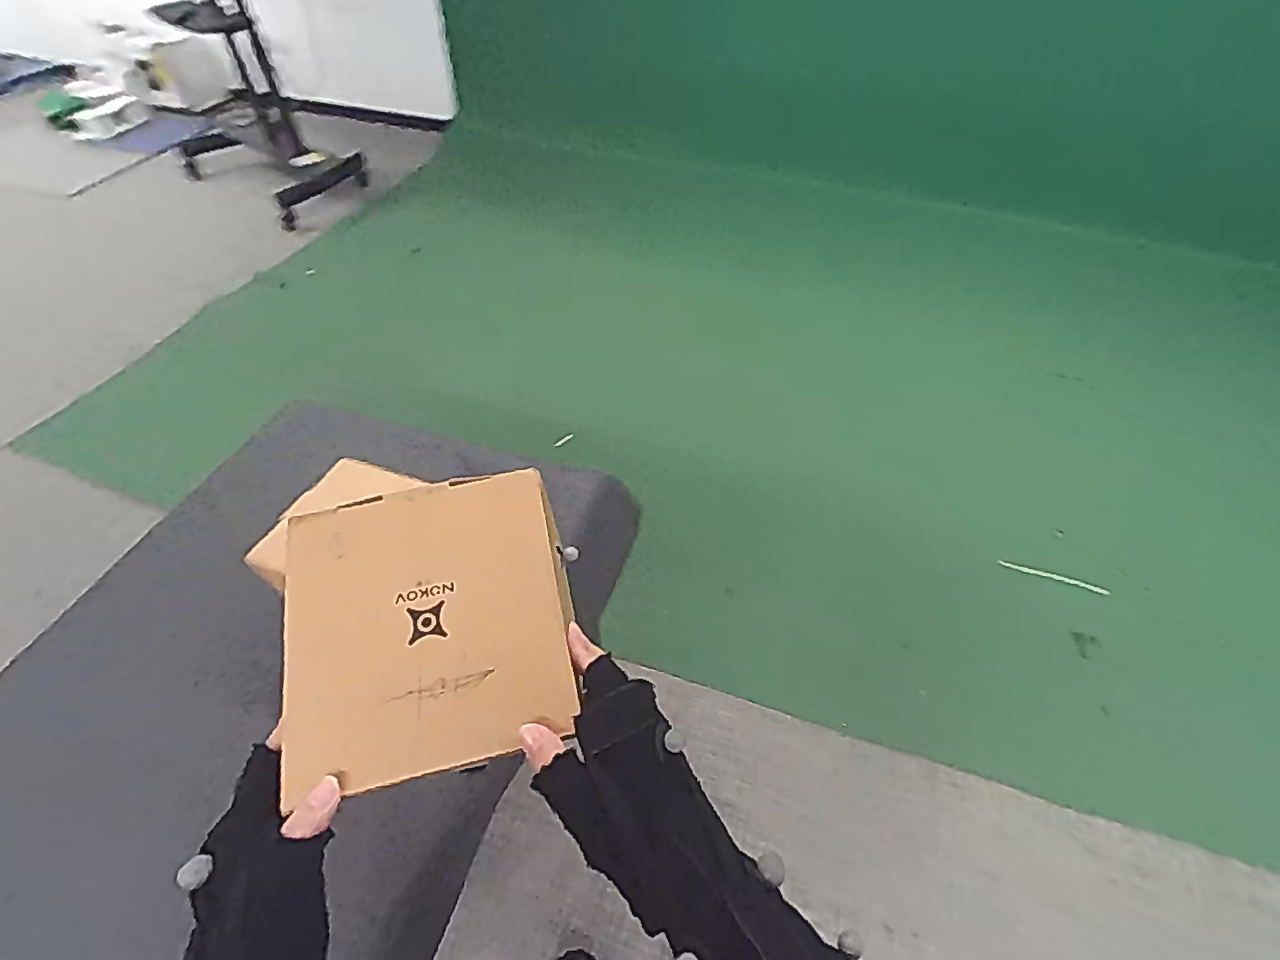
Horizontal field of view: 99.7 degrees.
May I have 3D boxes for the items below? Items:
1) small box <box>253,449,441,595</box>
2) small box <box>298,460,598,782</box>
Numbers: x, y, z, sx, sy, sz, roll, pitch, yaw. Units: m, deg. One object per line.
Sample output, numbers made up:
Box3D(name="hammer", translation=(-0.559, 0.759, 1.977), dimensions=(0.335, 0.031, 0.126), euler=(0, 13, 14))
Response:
Box3D(name="small box", translation=(-0.334, 0.091, 0.704), dimensions=(0.179, 0.176, 0.168), euler=(16, 54, 11))
Box3D(name="small box", translation=(-0.128, 0.109, 0.411), dimensions=(0.168, 0.176, 0.179), euler=(-11, 67, -6))
